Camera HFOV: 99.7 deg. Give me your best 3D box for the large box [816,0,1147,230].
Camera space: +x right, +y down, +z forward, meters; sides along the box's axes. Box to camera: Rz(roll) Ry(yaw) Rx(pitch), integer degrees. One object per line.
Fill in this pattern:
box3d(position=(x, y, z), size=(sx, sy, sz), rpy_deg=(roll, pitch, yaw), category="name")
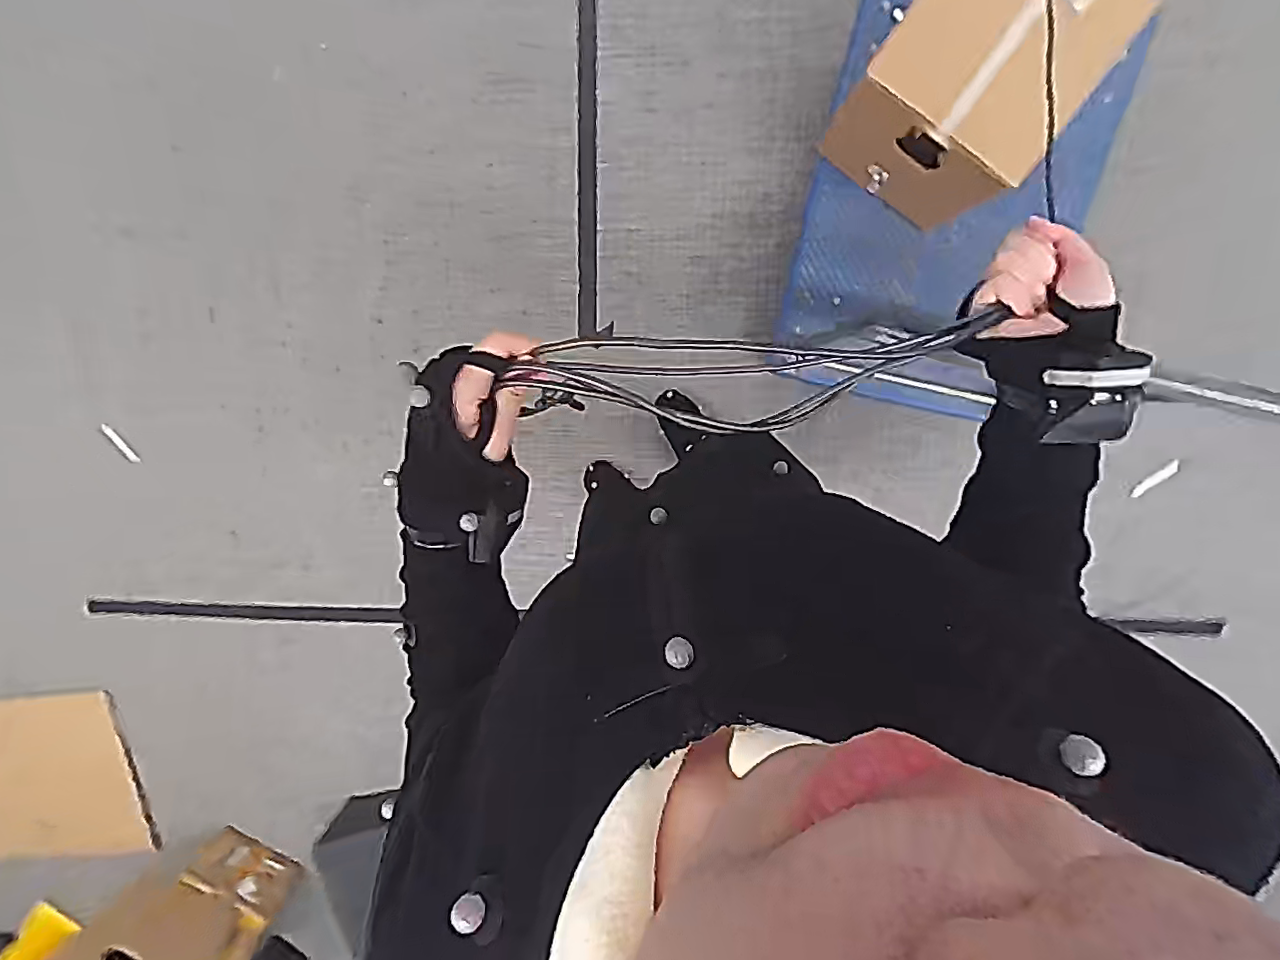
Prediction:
box3d(position=(0.594, -0.752, 0.983), size=(0.320, 0.320, 0.408), rpy_deg=(33, 101, -4), category="large box")
